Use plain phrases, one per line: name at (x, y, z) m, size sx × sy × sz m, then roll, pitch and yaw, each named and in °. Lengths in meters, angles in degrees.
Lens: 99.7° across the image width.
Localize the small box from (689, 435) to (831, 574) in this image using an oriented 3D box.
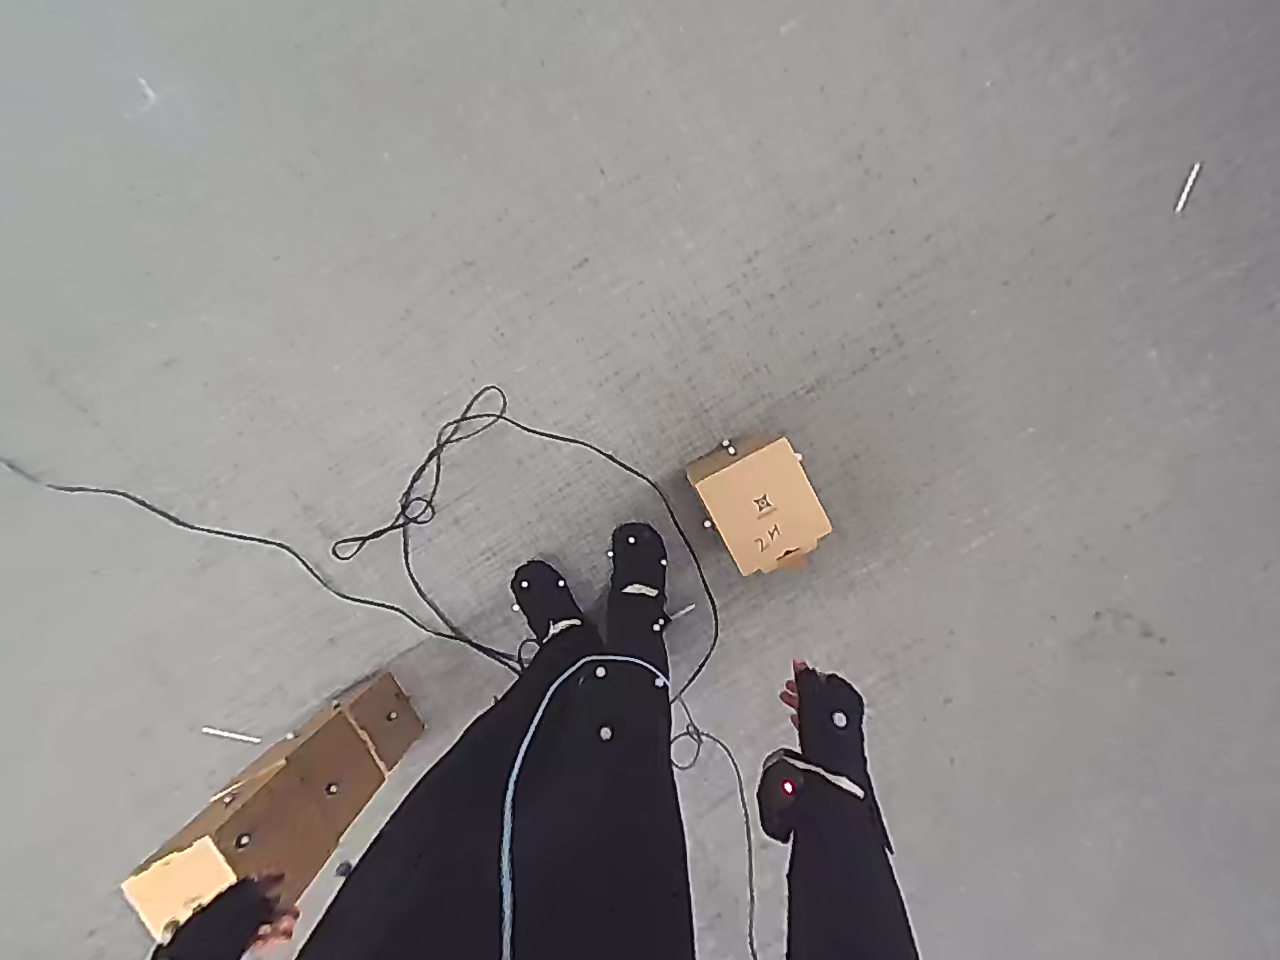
small box at (0.196, 0.035, 0.943) m, size 0.168 × 0.176 × 0.179 m, roll -28°, pitch 96°, yaw 4°

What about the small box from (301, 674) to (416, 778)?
small box at (-0.619, 0.559, 1.181) m, size 0.179 × 0.176 × 0.168 m, roll -30°, pitch 94°, yaw 4°

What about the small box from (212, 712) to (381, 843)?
small box at (-0.630, 0.580, 1.018) m, size 0.168 × 0.176 × 0.179 m, roll -29°, pitch 94°, yaw 5°

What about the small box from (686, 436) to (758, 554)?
small box at (0.204, 0.022, 1.090) m, size 0.168 × 0.176 × 0.179 m, roll -26°, pitch 95°, yaw 4°

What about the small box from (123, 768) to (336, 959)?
small box at (-0.630, 0.606, 0.857) m, size 0.168 × 0.176 × 0.179 m, roll -29°, pitch 94°, yaw 5°
